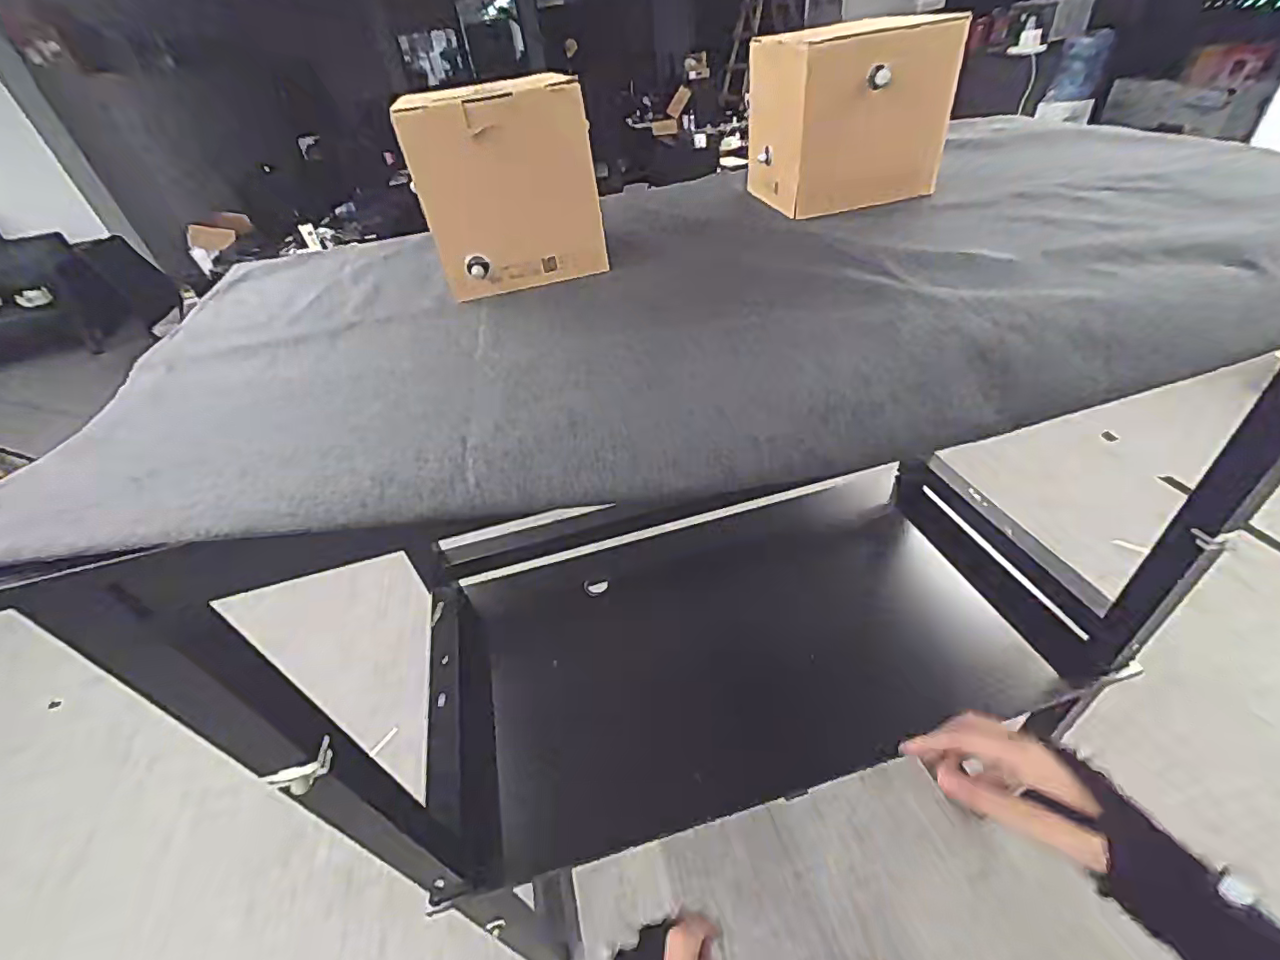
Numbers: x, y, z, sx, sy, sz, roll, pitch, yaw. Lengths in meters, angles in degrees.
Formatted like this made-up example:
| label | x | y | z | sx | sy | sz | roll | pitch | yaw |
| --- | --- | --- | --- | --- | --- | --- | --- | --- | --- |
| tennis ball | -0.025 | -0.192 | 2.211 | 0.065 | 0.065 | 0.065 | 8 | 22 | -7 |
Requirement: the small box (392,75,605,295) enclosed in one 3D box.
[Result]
| label | x | y | z | sx | sy | sz | roll | pitch | yaw |
| --- | --- | --- | --- | --- | --- | --- | --- | --- | --- |
| small box | -0.142 | -0.312 | 0.577 | 0.168 | 0.176 | 0.179 | -15 | 39 | -7 |

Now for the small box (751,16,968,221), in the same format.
| label | x | y | z | sx | sy | sz | roll | pitch | yaw |
| --- | --- | --- | --- | --- | --- | --- | --- | --- | --- |
| small box | 0.240 | -0.430 | 0.644 | 0.179 | 0.176 | 0.168 | -13 | 40 | -4 |
